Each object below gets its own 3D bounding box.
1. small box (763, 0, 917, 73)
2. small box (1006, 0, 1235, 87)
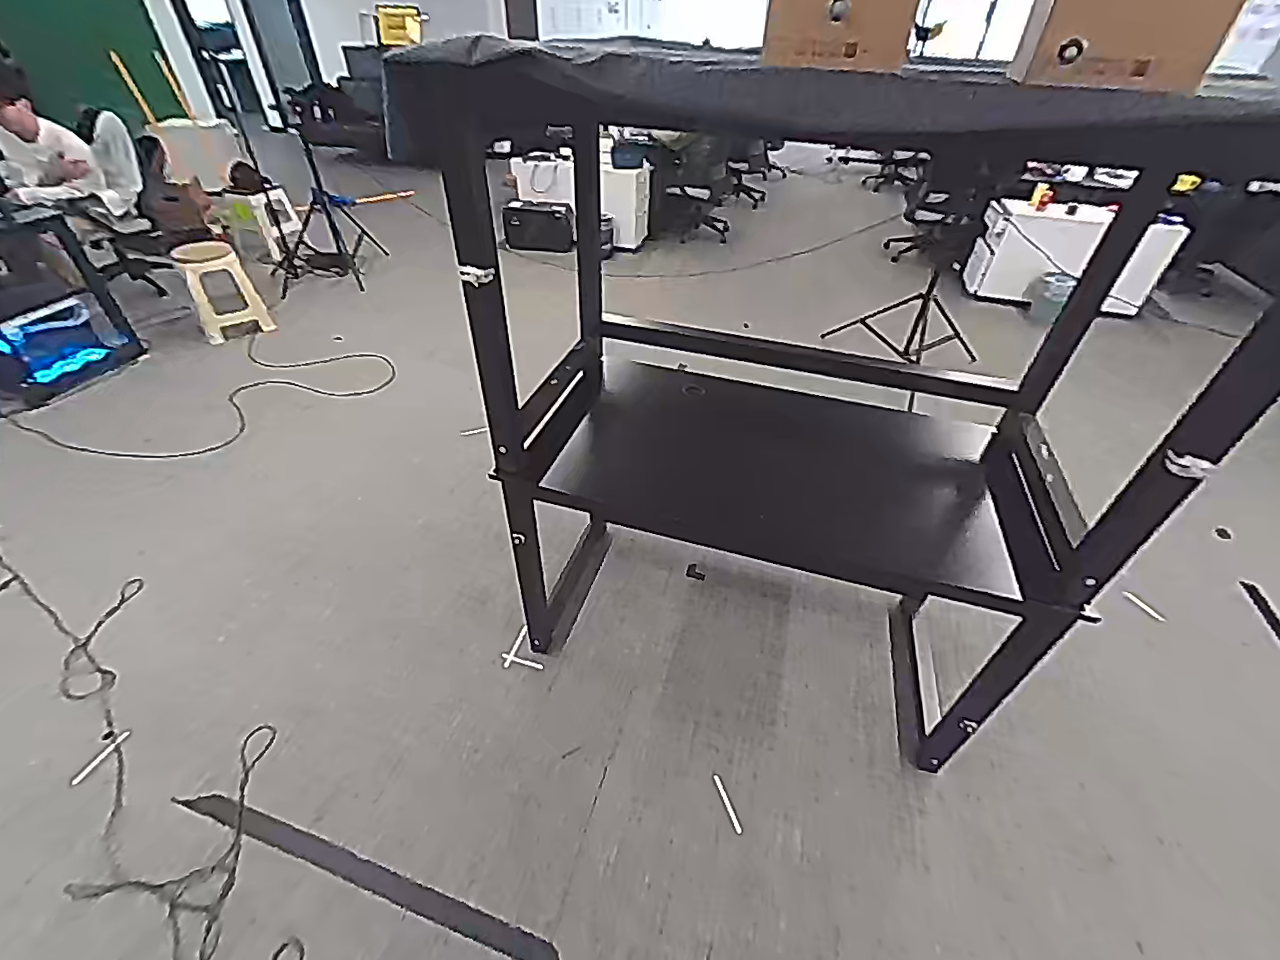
[{"bbox_3d":[0.252,-0.607,0.656,0.168,0.176,0.179,13,39,13],"label":"small box"},{"bbox_3d":[0.540,-0.544,0.599,0.168,0.176,0.179,15,40,15],"label":"small box"}]
